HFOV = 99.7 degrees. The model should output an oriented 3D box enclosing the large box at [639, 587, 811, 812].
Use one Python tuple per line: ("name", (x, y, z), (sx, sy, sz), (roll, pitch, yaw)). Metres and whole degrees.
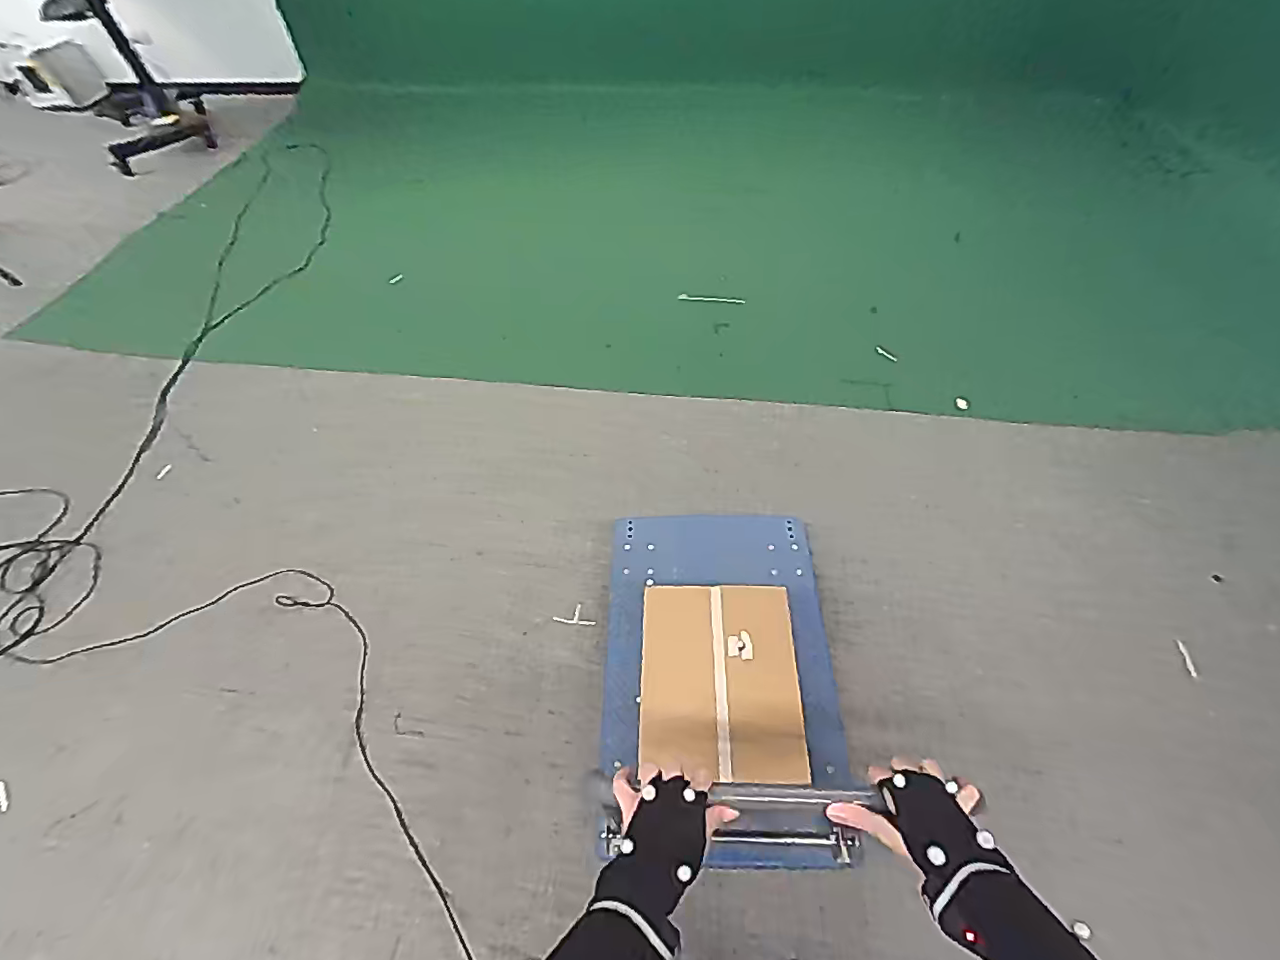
("large box", (0.164, 0.491, 1.204), (0.320, 0.320, 0.408), (0, 52, 2))
